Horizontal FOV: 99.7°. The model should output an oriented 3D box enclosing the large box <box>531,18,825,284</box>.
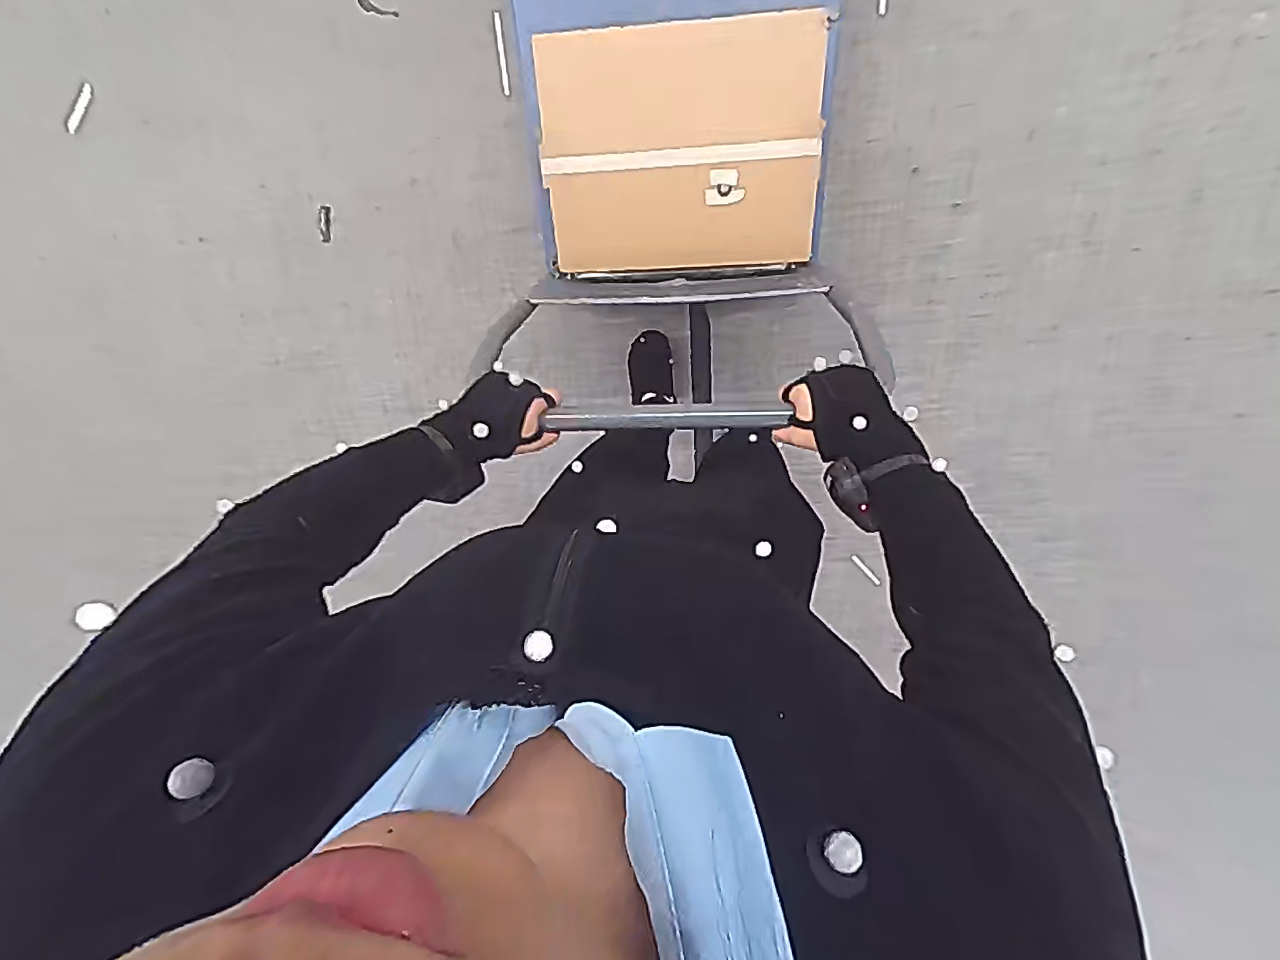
[{"bbox_3d":[0.066,-0.536,0.927,0.408,0.320,0.320,-1,120,5],"label":"large box"}]
